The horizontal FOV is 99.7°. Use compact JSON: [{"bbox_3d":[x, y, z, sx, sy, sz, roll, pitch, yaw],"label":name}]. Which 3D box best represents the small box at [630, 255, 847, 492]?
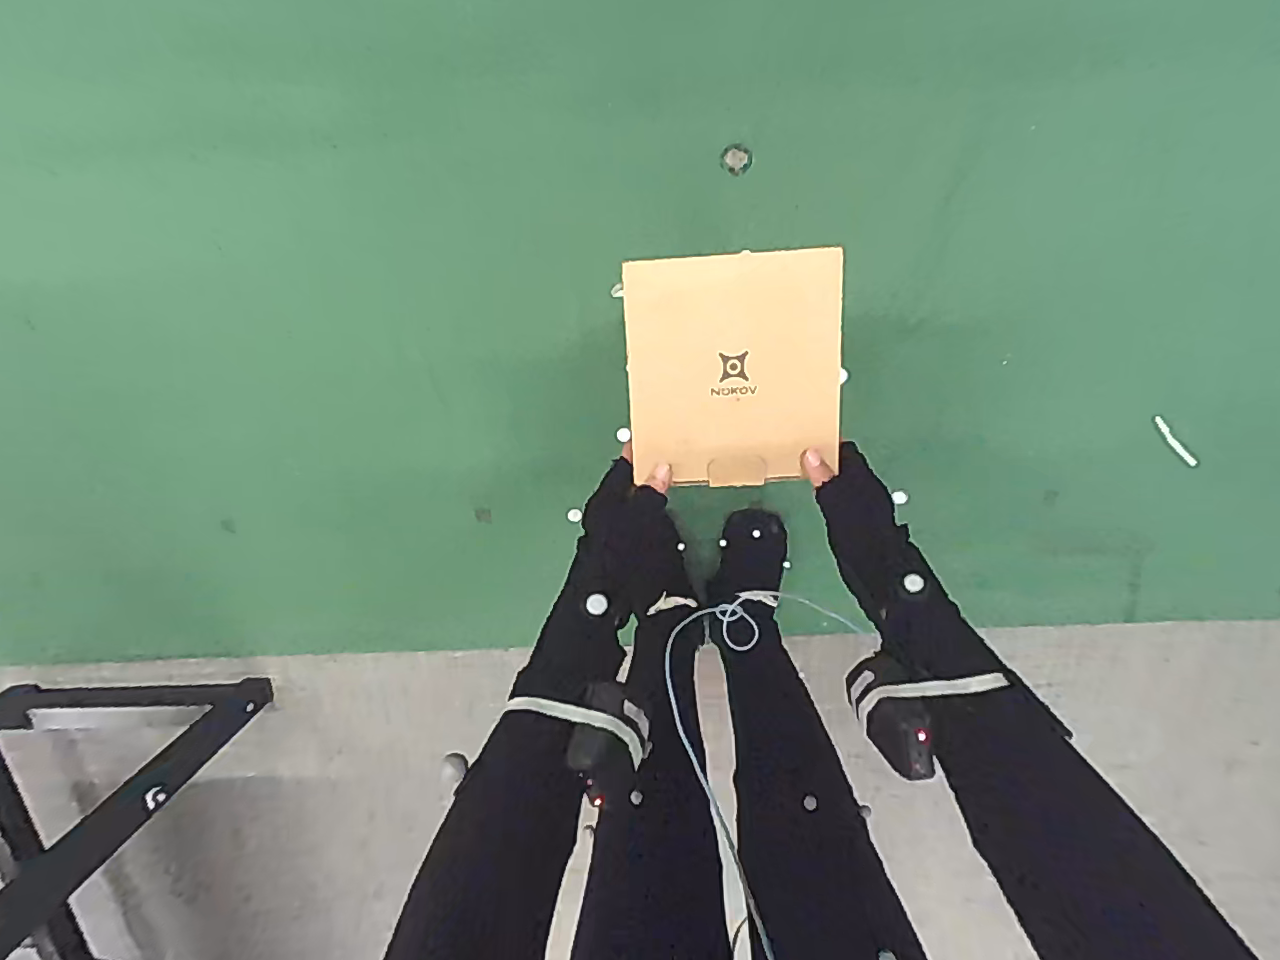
[{"bbox_3d":[0.078,-0.094,0.496,0.168,0.176,0.179,-3,102,3],"label":"small box"}]
